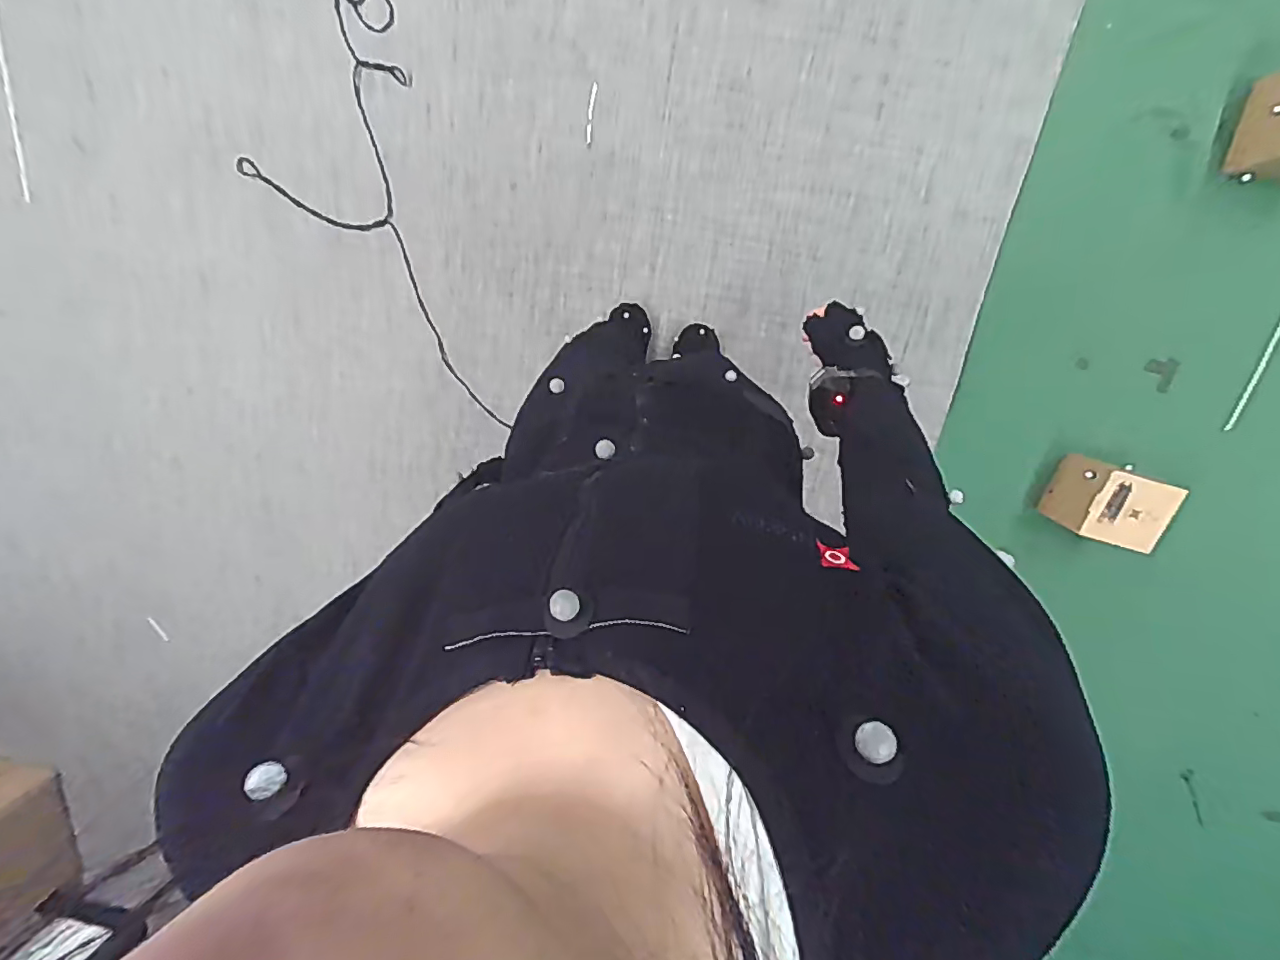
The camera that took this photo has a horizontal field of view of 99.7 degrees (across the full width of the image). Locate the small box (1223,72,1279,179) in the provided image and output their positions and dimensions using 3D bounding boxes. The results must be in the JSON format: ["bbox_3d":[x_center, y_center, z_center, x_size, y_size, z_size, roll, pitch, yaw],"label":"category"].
[{"bbox_3d":[1.325,-0.706,1.060,0.168,0.176,0.179,8,106,3],"label":"small box"}]
